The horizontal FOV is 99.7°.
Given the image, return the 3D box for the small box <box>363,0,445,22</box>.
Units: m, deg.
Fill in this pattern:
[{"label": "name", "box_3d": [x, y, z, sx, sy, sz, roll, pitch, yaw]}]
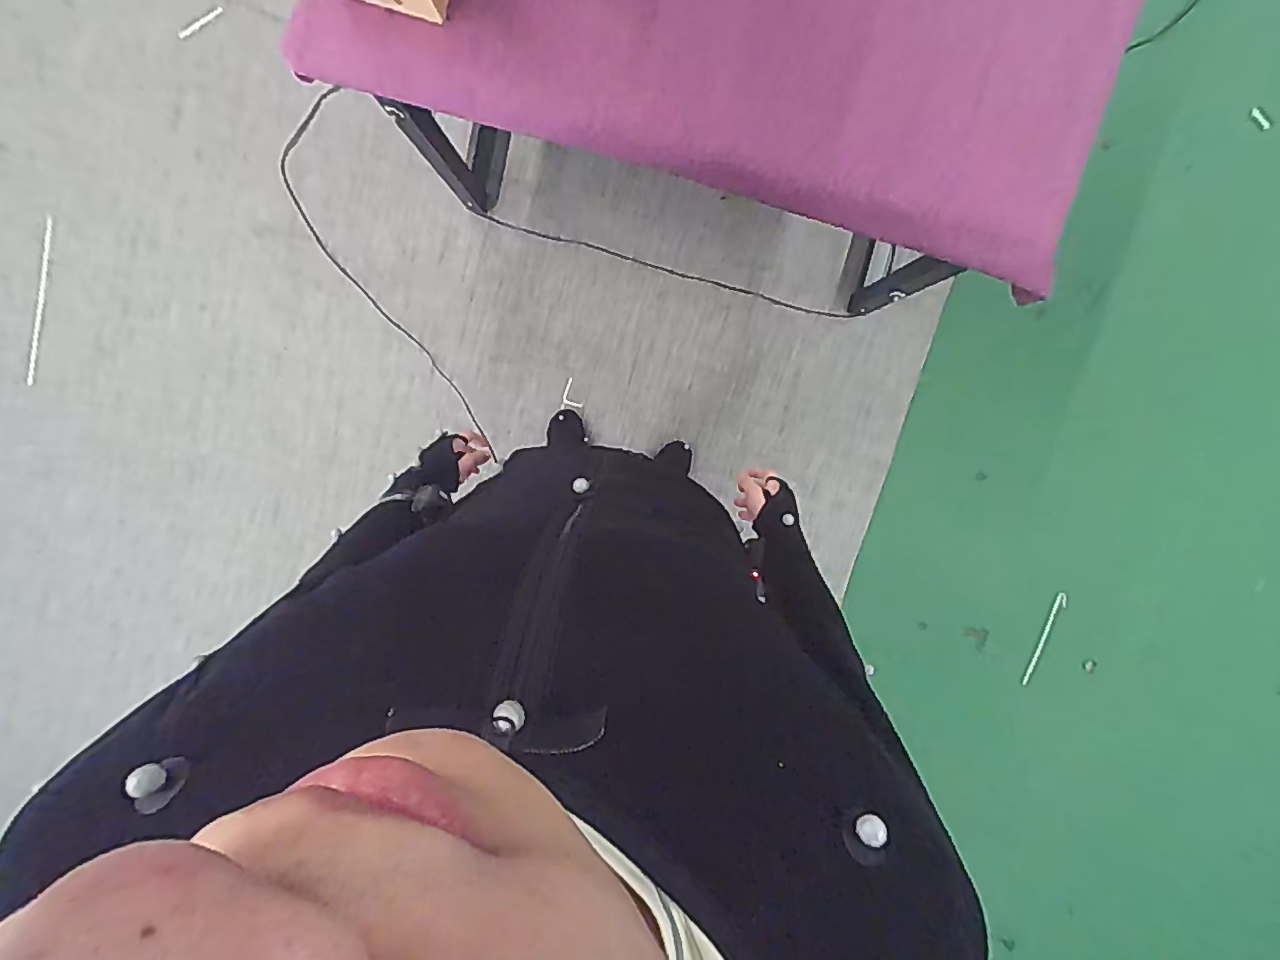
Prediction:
[{"label": "small box", "box_3d": [-0.352, -0.778, 0.717, 0.168, 0.176, 0.179, 15, 96, -2]}]
